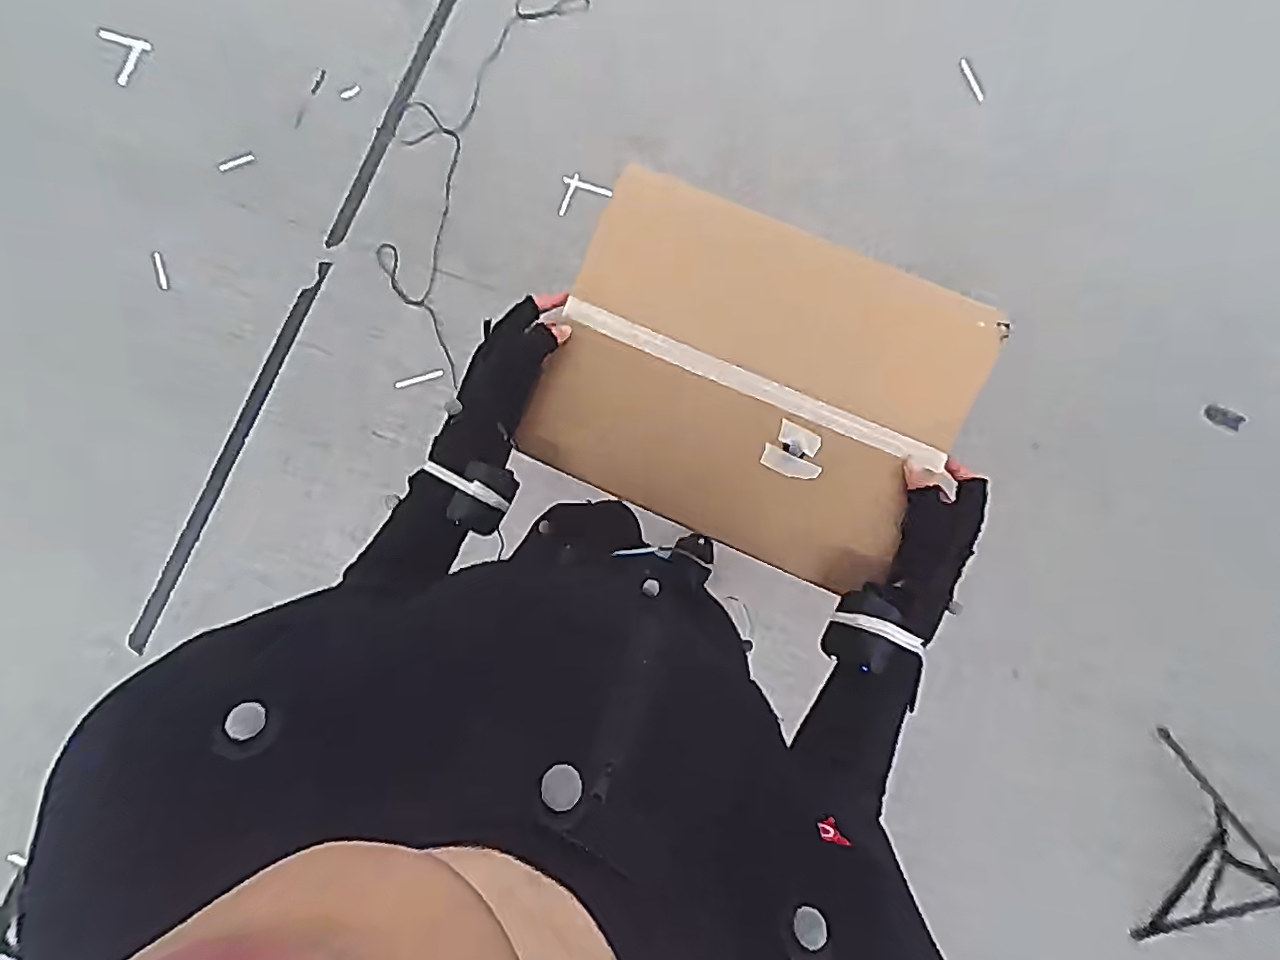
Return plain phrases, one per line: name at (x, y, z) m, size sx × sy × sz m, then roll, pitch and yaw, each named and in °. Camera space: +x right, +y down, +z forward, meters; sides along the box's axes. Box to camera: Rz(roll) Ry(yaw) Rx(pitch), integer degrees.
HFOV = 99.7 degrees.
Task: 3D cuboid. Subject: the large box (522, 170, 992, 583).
large box at (0.120, -0.112, 0.703) m, size 0.408 × 0.320 × 0.320 m, roll 24°, pitch 94°, yaw 3°
